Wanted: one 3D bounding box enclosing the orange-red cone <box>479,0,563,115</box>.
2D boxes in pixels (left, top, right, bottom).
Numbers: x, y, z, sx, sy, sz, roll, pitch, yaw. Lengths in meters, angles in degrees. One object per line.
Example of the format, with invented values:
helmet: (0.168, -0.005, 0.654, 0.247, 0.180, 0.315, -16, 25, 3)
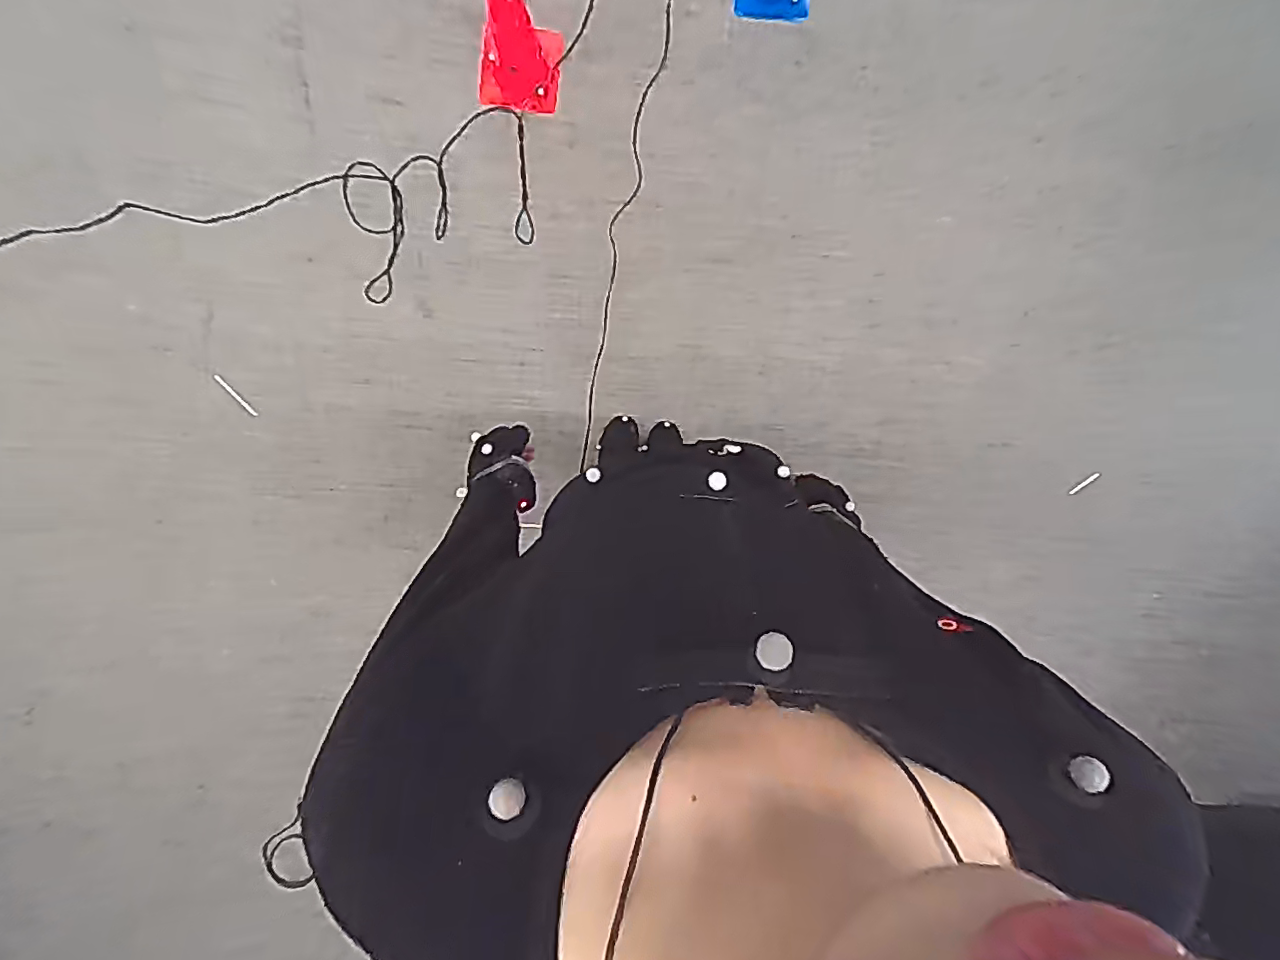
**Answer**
orange-red cone: (-0.290, -1.029, 1.201, 0.198, 0.360, 0.199, 8, 94, -5)
